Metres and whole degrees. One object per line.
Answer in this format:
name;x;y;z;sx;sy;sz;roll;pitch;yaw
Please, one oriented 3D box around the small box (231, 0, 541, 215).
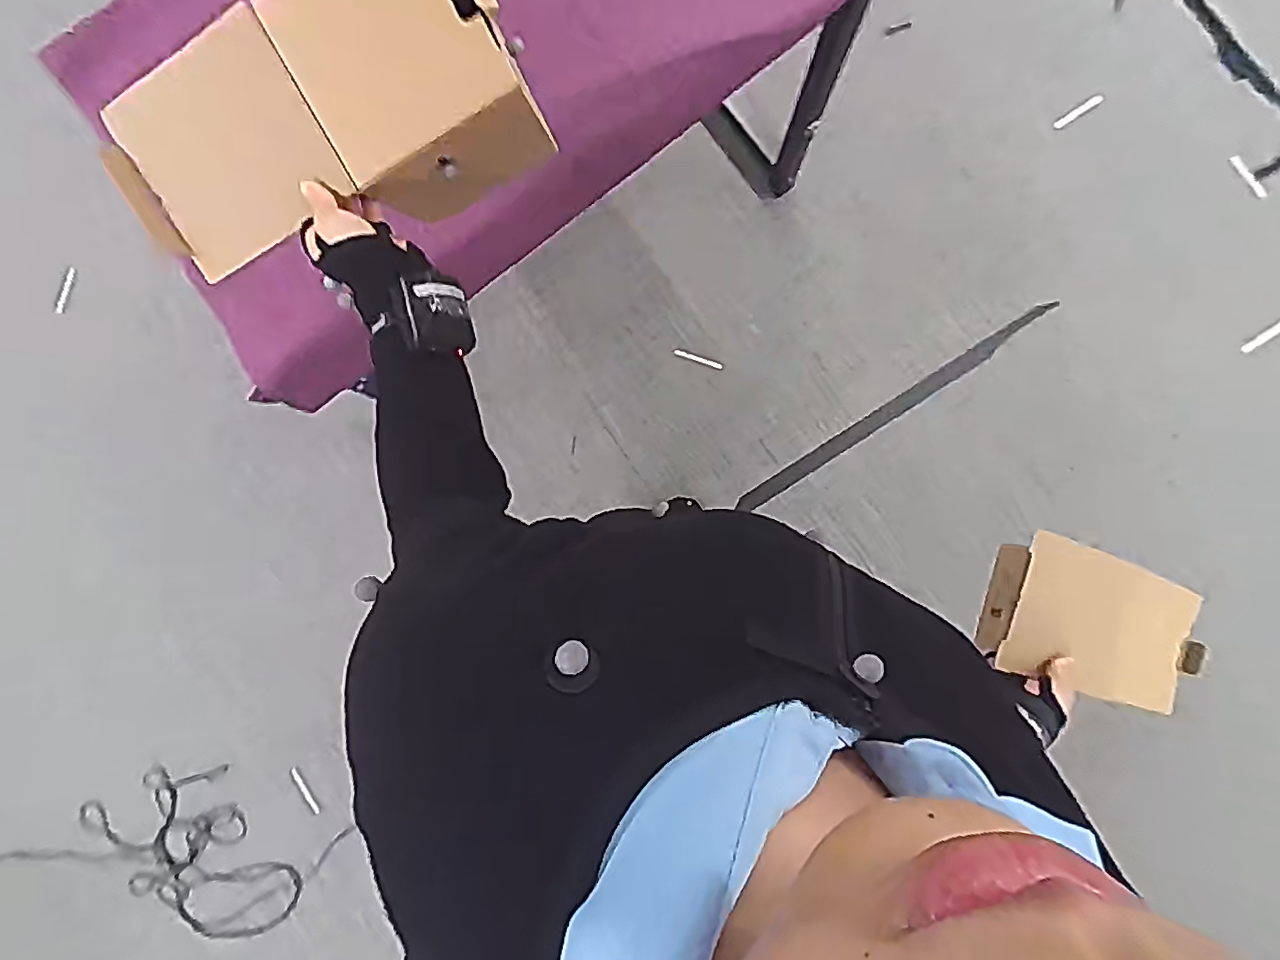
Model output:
small box;-0.220;-0.387;0.522;0.179;0.176;0.168;-28;102;9
